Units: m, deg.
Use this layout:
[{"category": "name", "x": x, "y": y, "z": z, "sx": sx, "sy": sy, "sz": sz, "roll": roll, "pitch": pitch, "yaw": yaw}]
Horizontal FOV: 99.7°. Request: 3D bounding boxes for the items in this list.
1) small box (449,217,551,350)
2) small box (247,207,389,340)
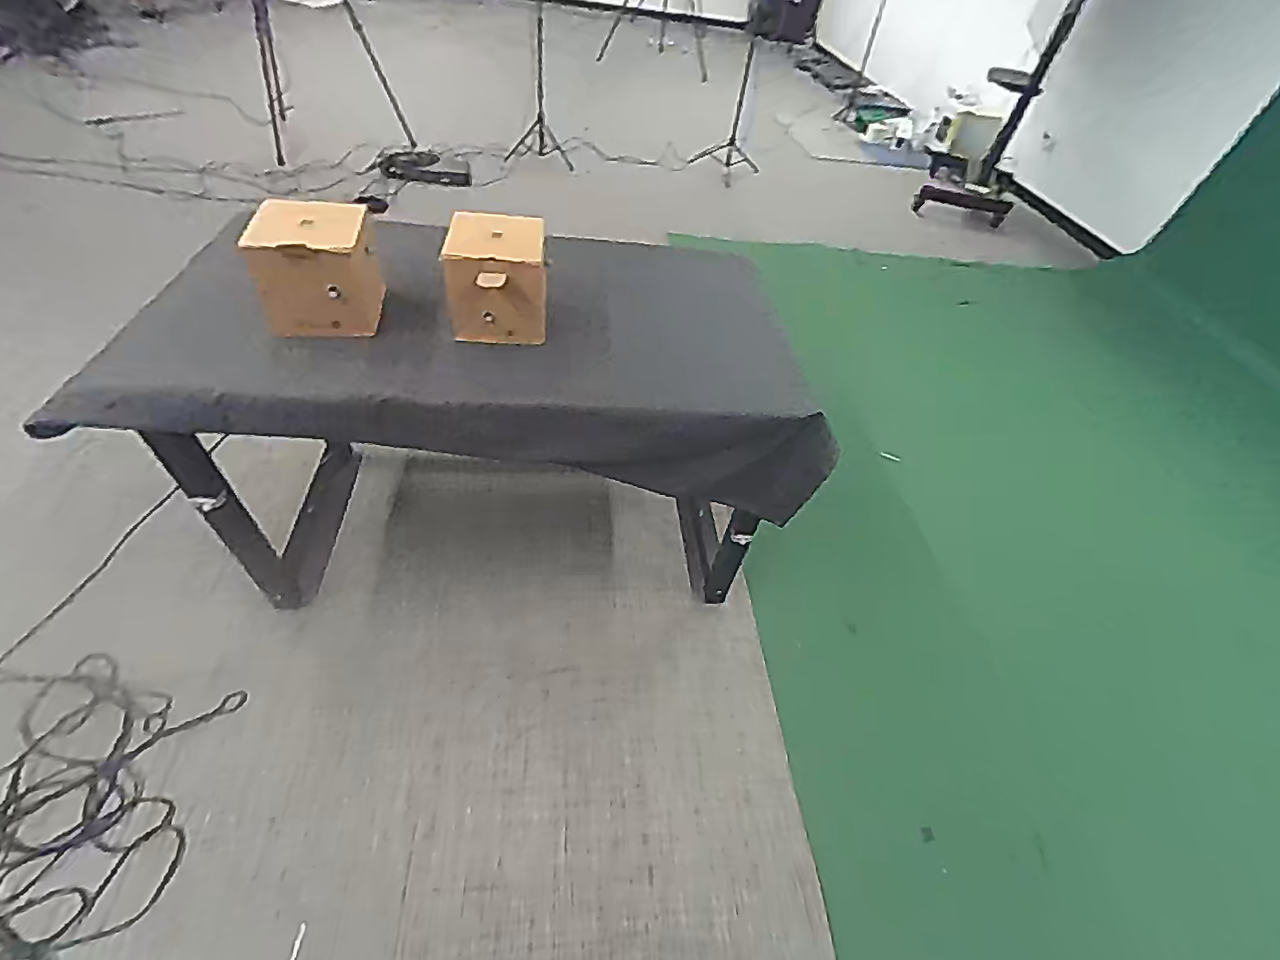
[{"category": "small box", "x": -0.256, "y": -0.369, "z": 1.023, "sx": 0.168, "sy": 0.176, "sz": 0.179, "roll": 1, "pitch": 48, "yaw": -9}, {"category": "small box", "x": -0.560, "y": -0.367, "z": 0.971, "sx": 0.168, "sy": 0.176, "sz": 0.179, "roll": -3, "pitch": 47, "yaw": -14}]
